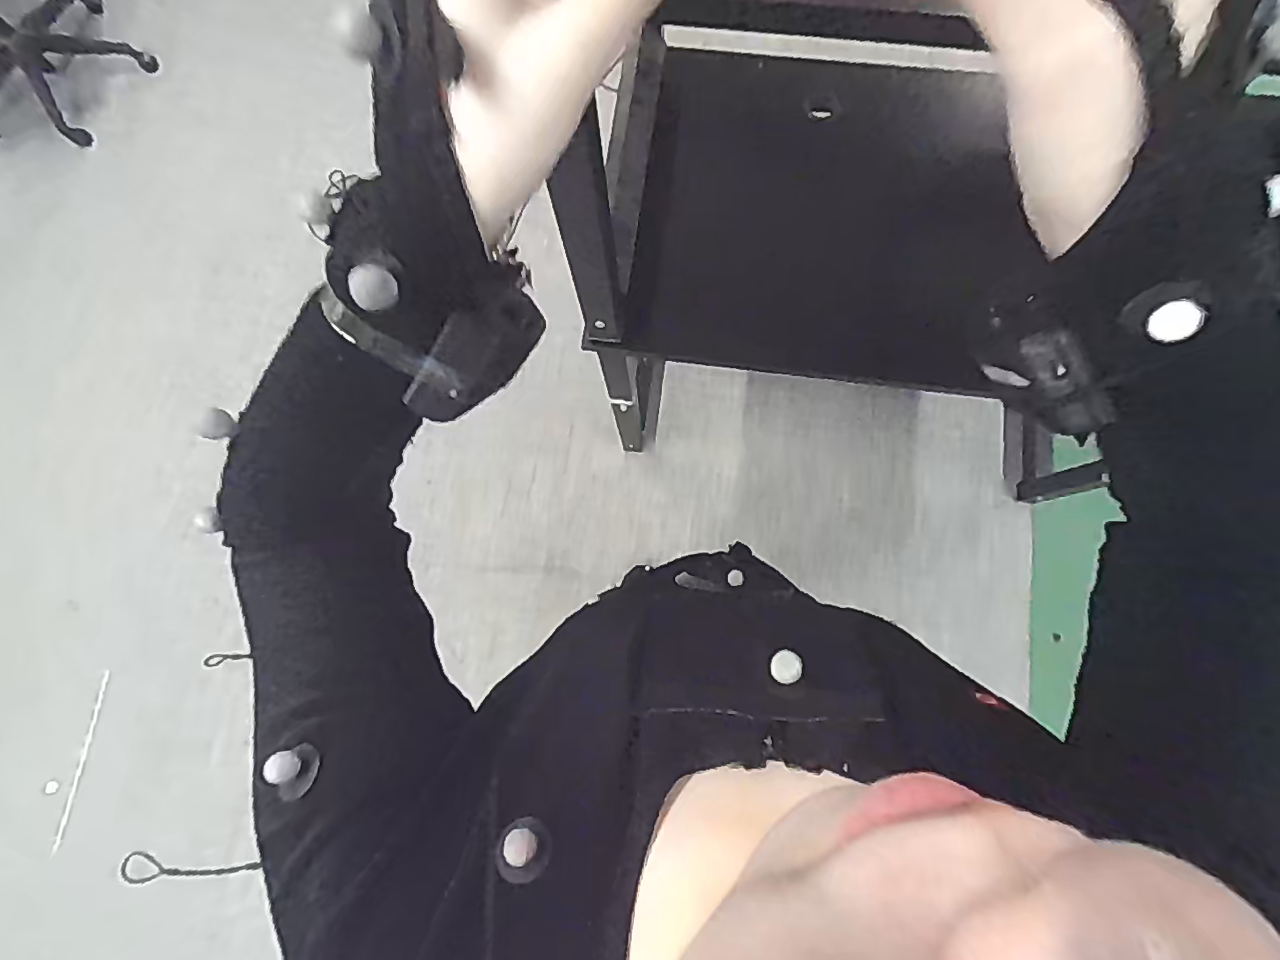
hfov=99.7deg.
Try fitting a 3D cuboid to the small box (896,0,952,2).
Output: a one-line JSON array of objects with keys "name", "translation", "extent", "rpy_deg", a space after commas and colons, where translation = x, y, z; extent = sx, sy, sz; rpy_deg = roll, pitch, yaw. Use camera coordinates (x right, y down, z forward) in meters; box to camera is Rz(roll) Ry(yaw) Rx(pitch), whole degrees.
[{"name": "small box", "translation": [0.051, -0.224, 0.093], "extent": [0.179, 0.176, 0.168], "rpy_deg": [5, 108, 6]}]
